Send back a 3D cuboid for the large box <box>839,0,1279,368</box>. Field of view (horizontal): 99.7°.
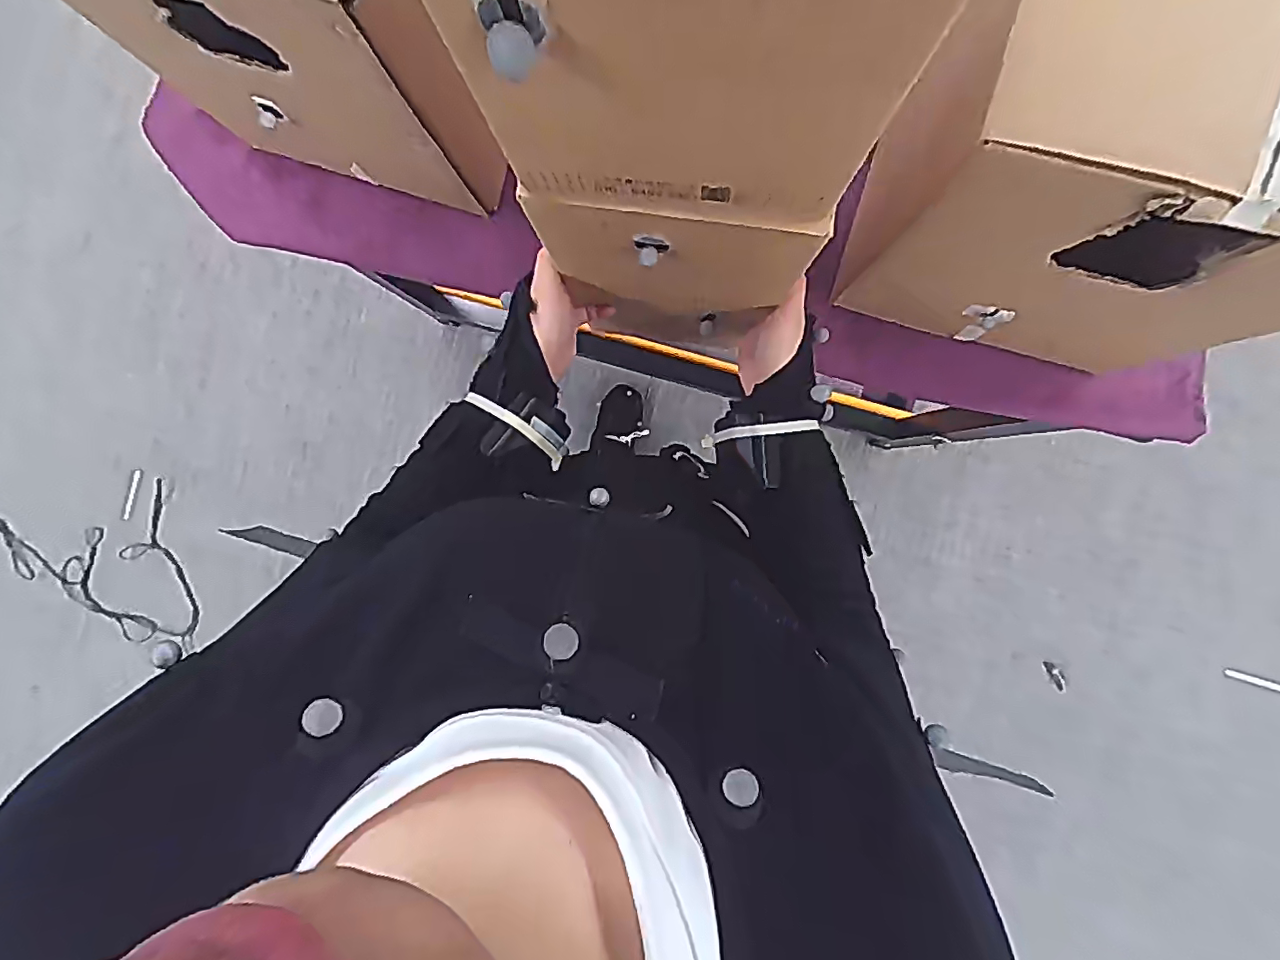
[{"bbox_3d":[0.406,-0.349,0.455,0.320,0.320,0.408,16,90,2],"label":"large box"}]

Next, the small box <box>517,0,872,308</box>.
[{"bbox_3d":[0.033,-0.227,0.365,0.179,0.176,0.168,8,93,2],"label":"small box"}]
